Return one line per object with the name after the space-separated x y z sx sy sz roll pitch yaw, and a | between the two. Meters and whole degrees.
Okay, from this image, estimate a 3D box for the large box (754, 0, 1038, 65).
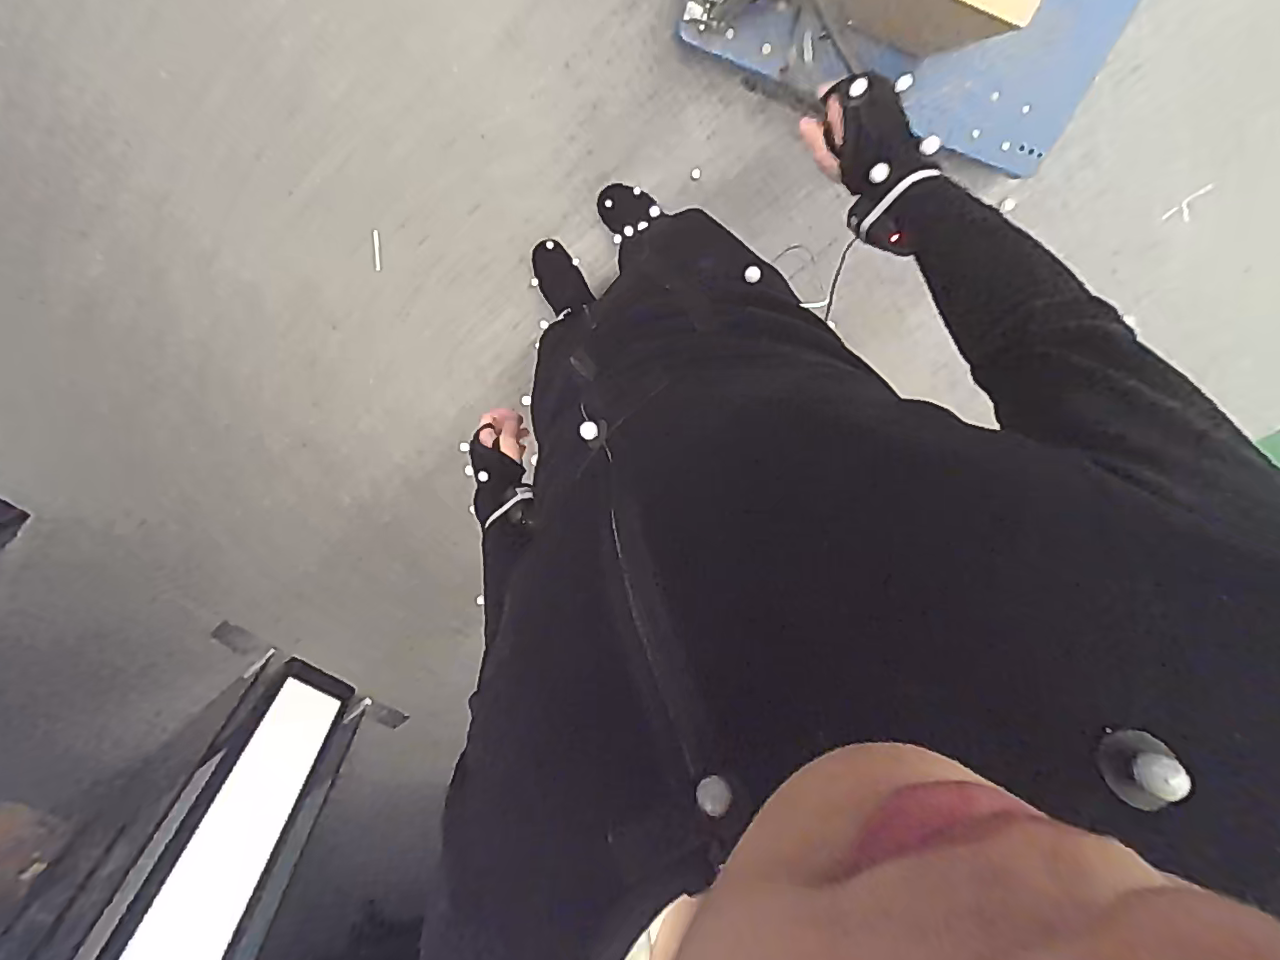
0.433 -0.933 0.864 0.408 0.320 0.320 12 120 -12 | large box
